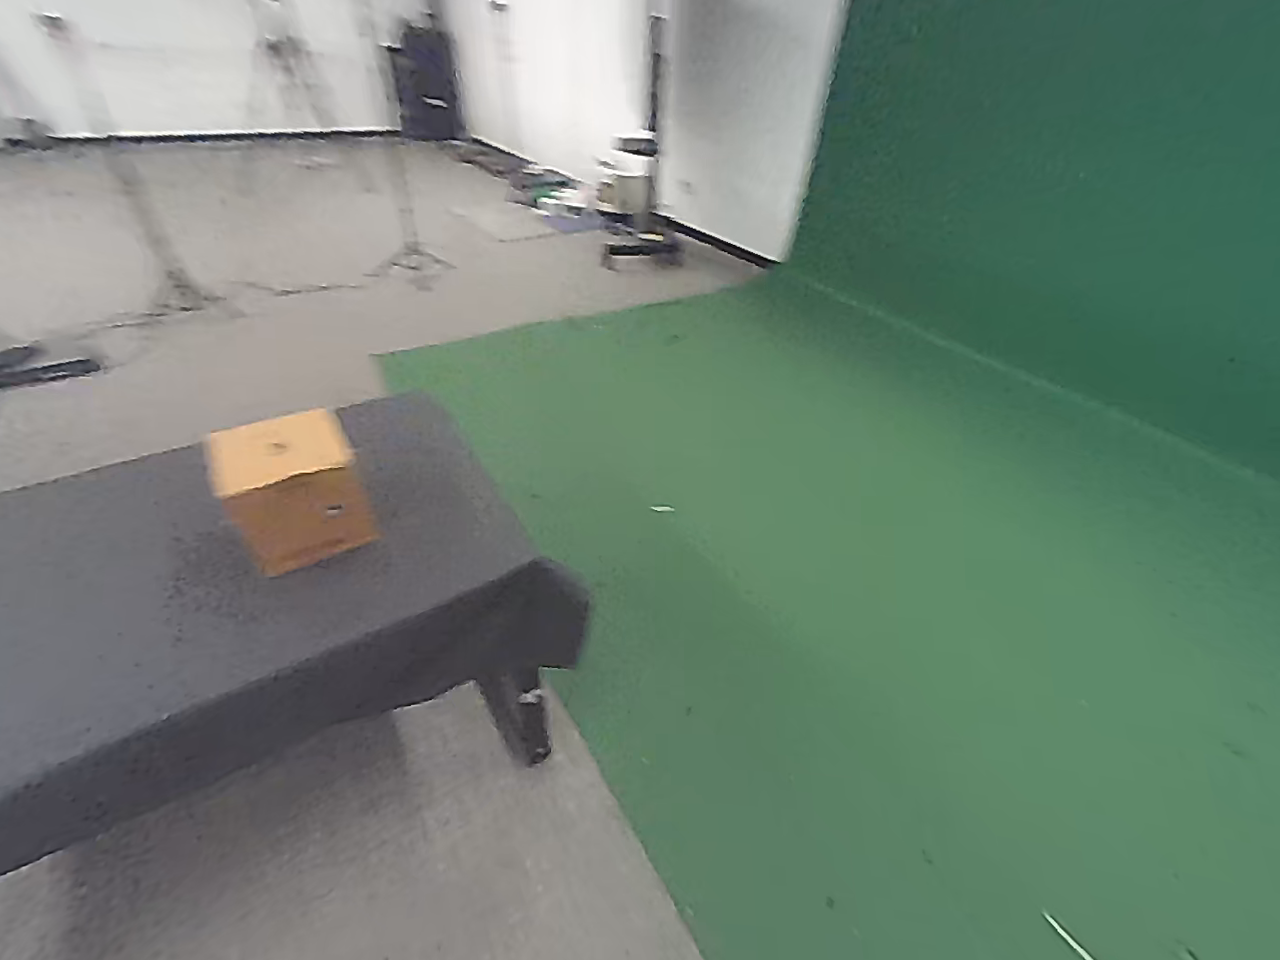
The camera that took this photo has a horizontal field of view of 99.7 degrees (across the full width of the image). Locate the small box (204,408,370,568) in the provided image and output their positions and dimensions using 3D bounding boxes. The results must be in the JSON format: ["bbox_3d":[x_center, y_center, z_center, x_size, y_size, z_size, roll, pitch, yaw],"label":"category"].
[{"bbox_3d":[-0.548,0.015,0.852,0.168,0.176,0.179,-22,45,-29],"label":"small box"}]
